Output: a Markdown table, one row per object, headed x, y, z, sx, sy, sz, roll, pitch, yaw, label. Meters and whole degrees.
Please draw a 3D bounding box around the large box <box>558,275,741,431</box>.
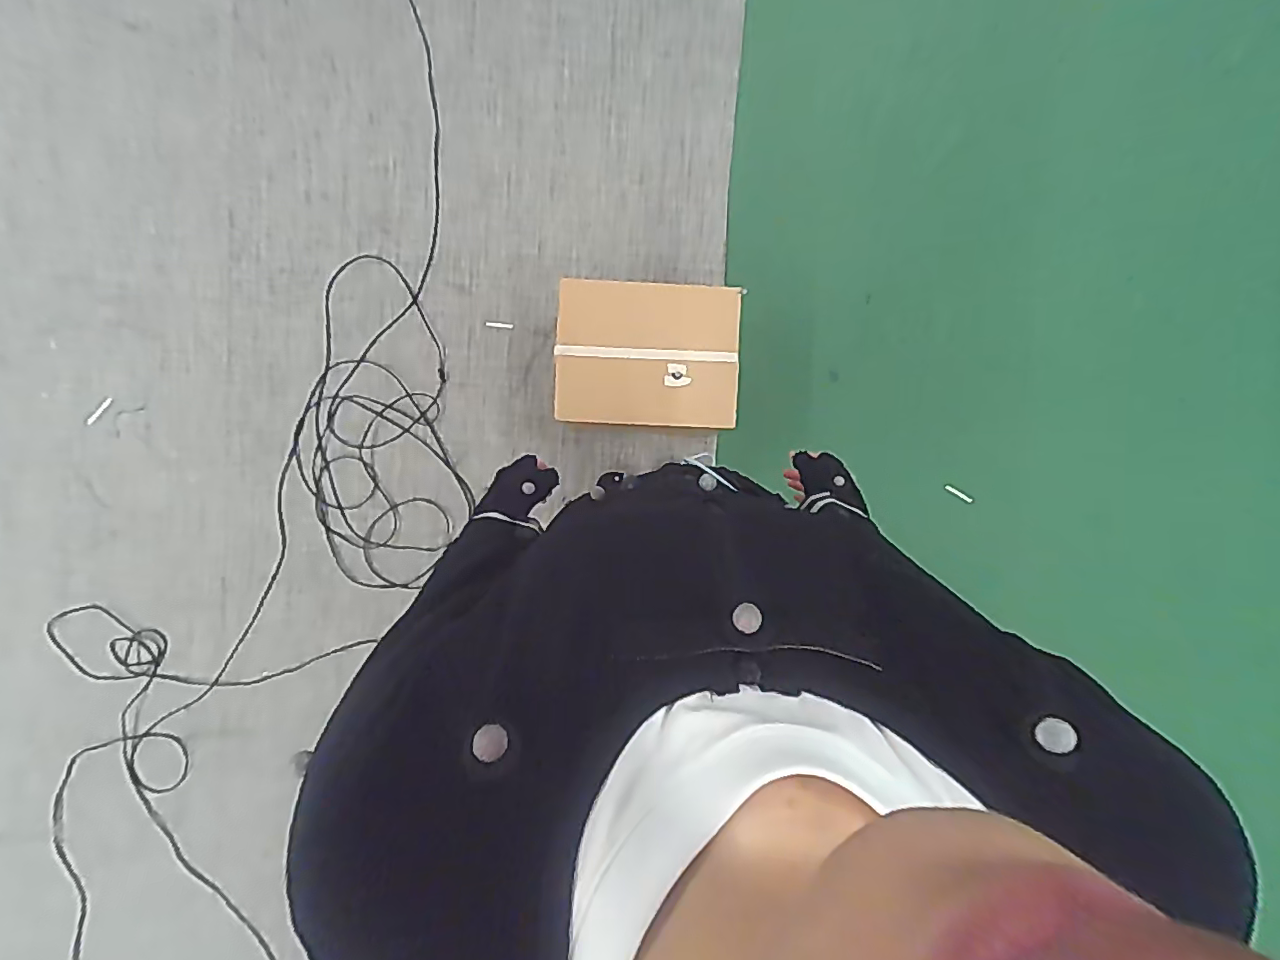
| x | y | z | sx | sy | sz | roll | pitch | yaw | label |
| --- | --- | --- | --- | --- | --- | --- | --- | --- | --- |
| 0.014 | -0.290 | 1.334 | 0.408 | 0.320 | 0.320 | 2 | 92 | -2 | large box |
